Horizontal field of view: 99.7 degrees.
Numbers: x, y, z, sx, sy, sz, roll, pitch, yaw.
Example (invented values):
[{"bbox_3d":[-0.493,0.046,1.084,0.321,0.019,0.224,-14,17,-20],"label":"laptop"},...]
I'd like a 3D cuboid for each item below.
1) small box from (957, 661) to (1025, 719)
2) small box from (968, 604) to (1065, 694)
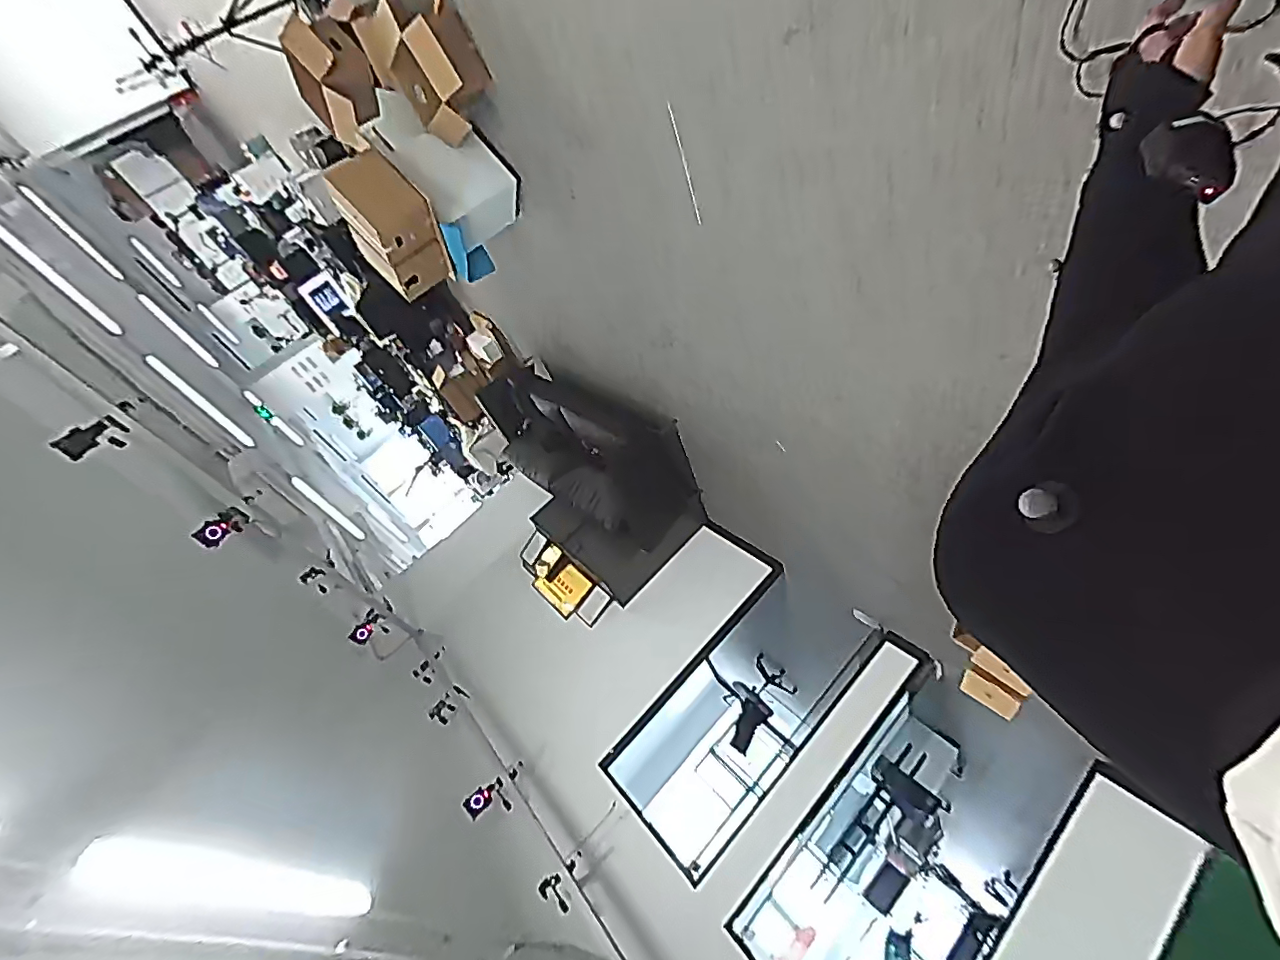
[{"bbox_3d":[1.199,0.656,1.809,0.168,0.176,0.179,33,156,39],"label":"small box"},{"bbox_3d":[1.132,0.505,1.625,0.168,0.176,0.179,36,160,33],"label":"small box"}]
